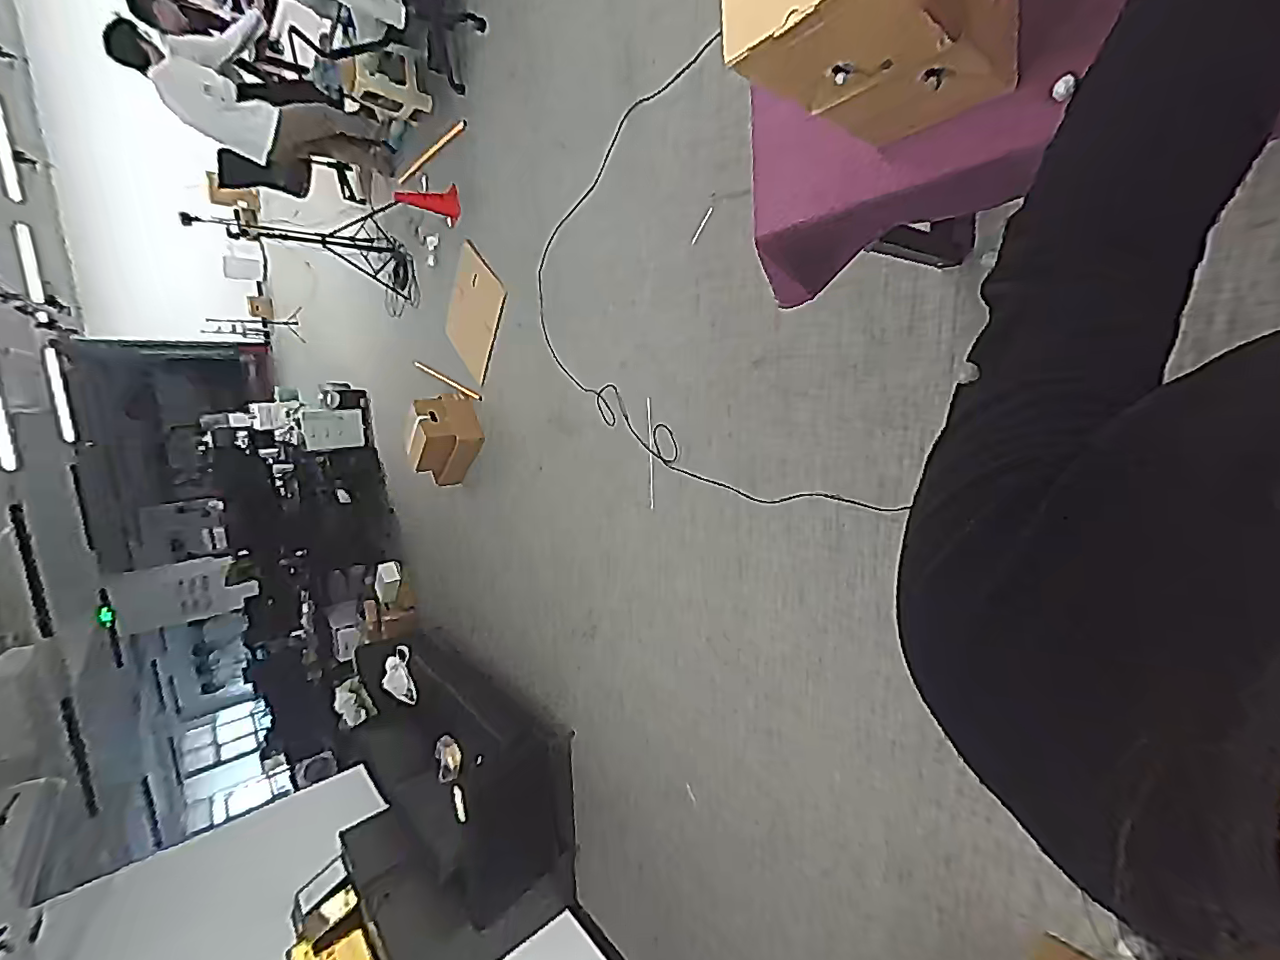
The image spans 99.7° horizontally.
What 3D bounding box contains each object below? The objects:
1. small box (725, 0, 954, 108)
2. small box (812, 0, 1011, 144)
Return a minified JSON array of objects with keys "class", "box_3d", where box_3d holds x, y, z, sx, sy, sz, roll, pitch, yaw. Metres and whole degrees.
[{"class":"small box","box_3d":[0.202,-0.525,0.549,0.168,0.176,0.179,6,103,49]},{"class":"small box","box_3d":[0.328,-0.542,0.651,0.179,0.176,0.168,6,102,49]}]
